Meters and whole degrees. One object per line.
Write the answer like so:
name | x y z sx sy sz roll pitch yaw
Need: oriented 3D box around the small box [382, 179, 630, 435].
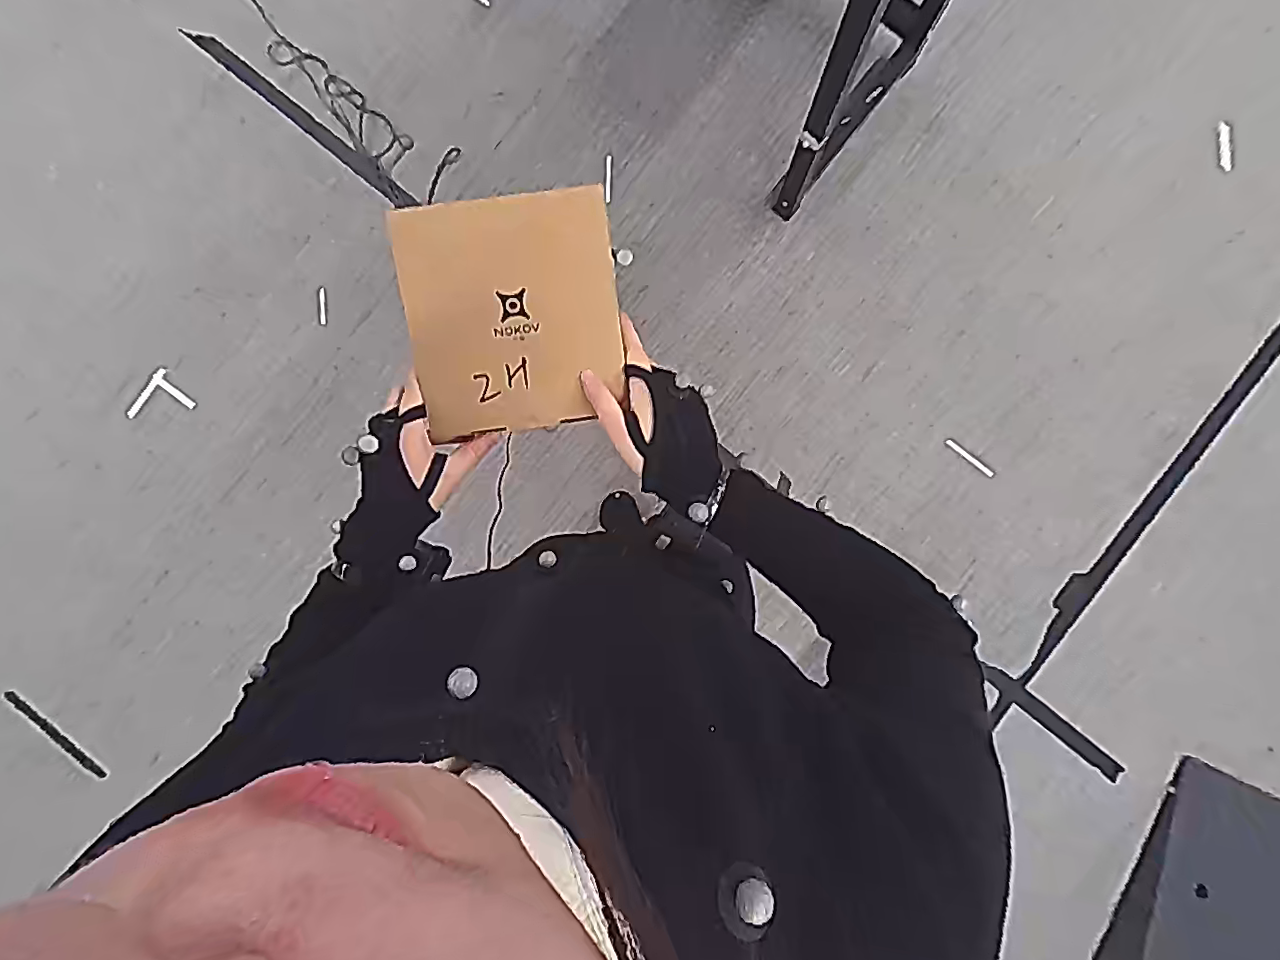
small box | -0.101 -0.143 0.487 0.168 0.176 0.179 -7 102 0
